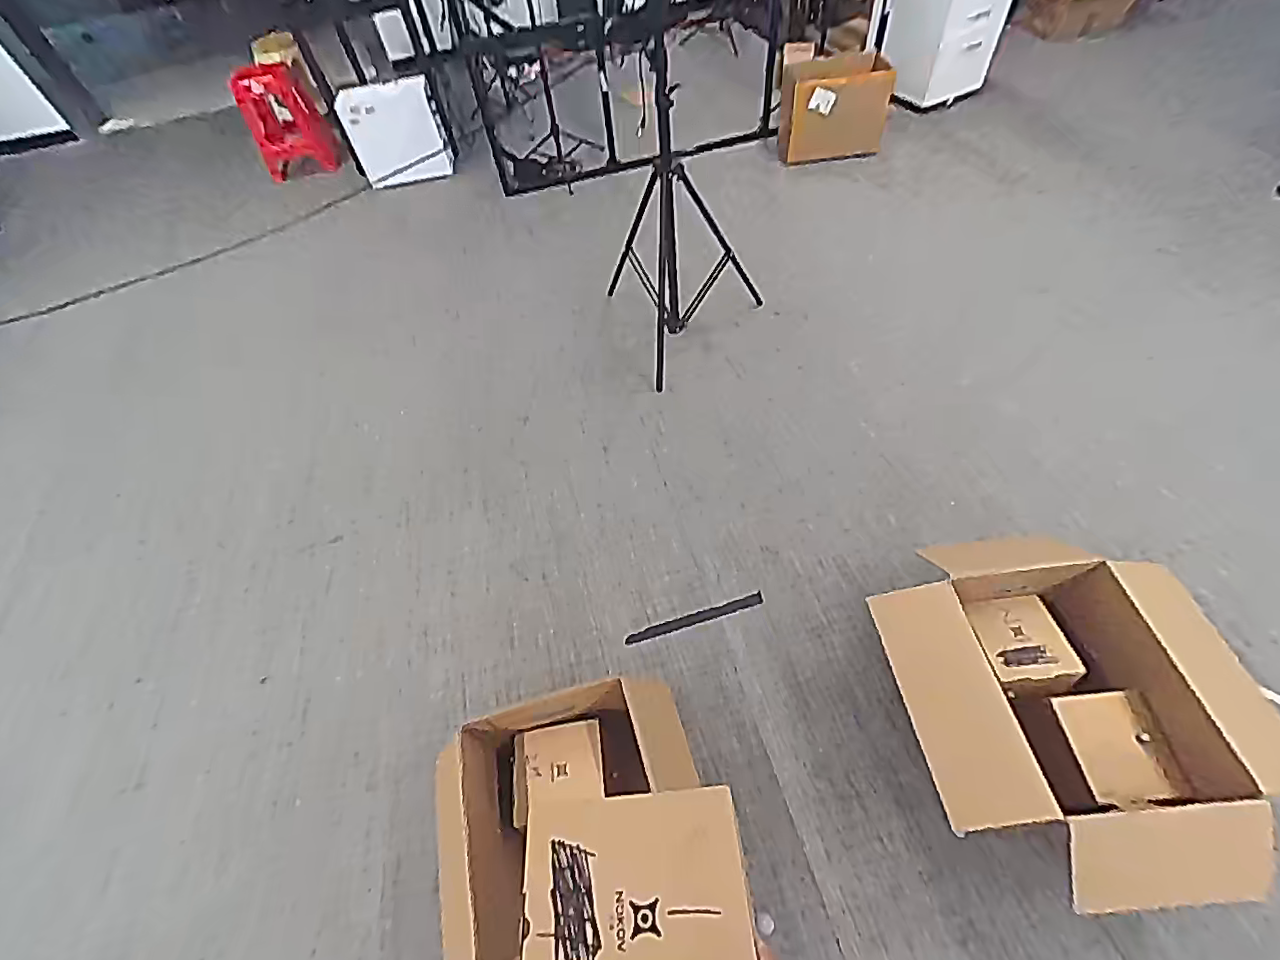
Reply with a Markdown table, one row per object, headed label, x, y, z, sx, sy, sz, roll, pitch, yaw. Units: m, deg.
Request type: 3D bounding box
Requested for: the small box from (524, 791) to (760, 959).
| label | x | y | z | sx | sy | sz | roll | pitch | yaw |
| --- | --- | --- | --- | --- | --- | --- | --- | --- | --- |
| small box | 0.010 | 0.389 | 0.469 | 0.179 | 0.176 | 0.168 | -9 | 48 | 4 |
